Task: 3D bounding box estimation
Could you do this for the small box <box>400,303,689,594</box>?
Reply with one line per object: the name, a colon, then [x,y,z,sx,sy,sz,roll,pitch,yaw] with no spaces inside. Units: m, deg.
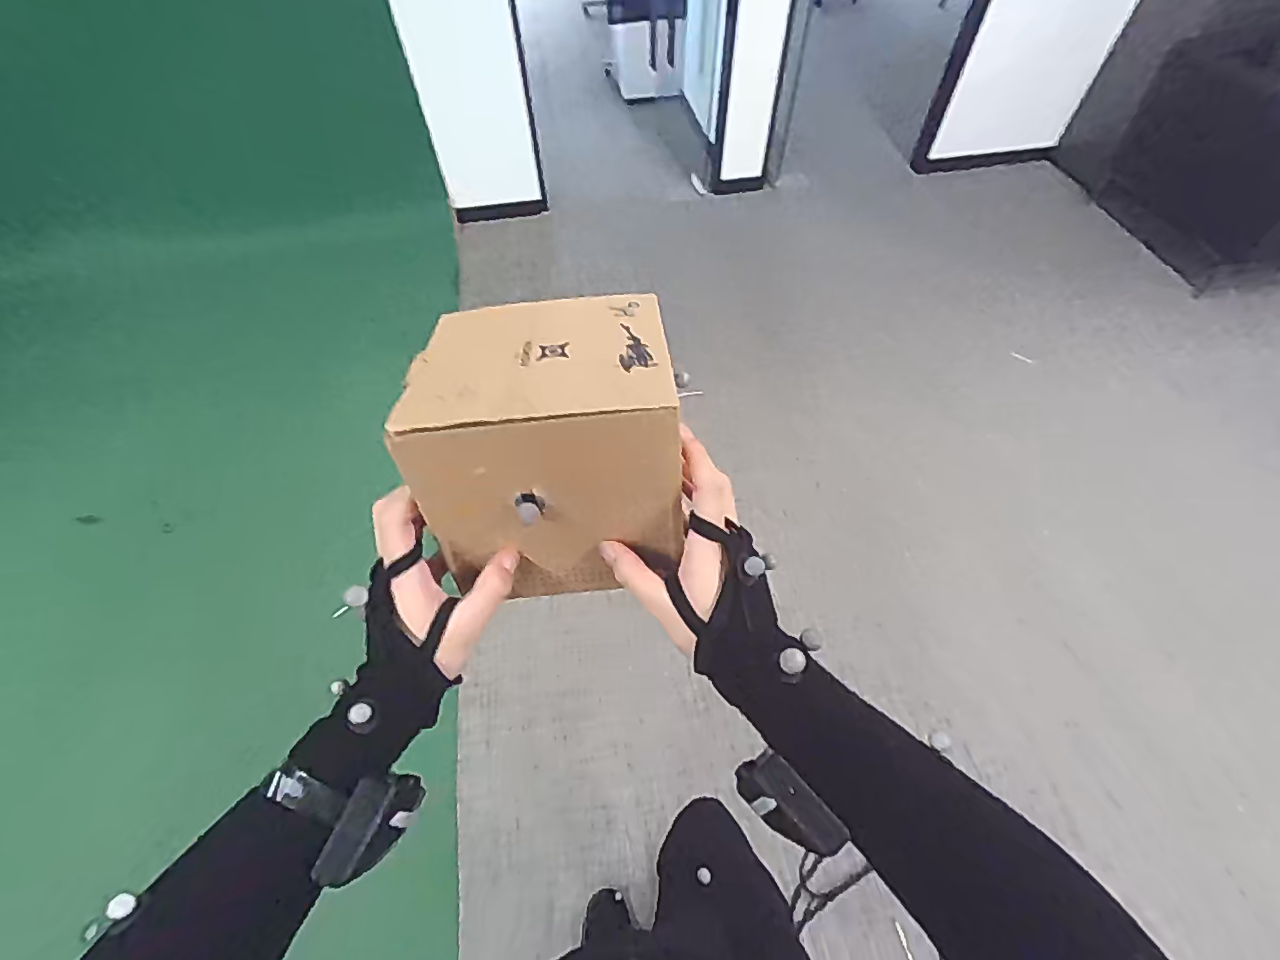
small box: [-0.058,-0.024,0.440,0.179,0.176,0.168,-6,41,1]
